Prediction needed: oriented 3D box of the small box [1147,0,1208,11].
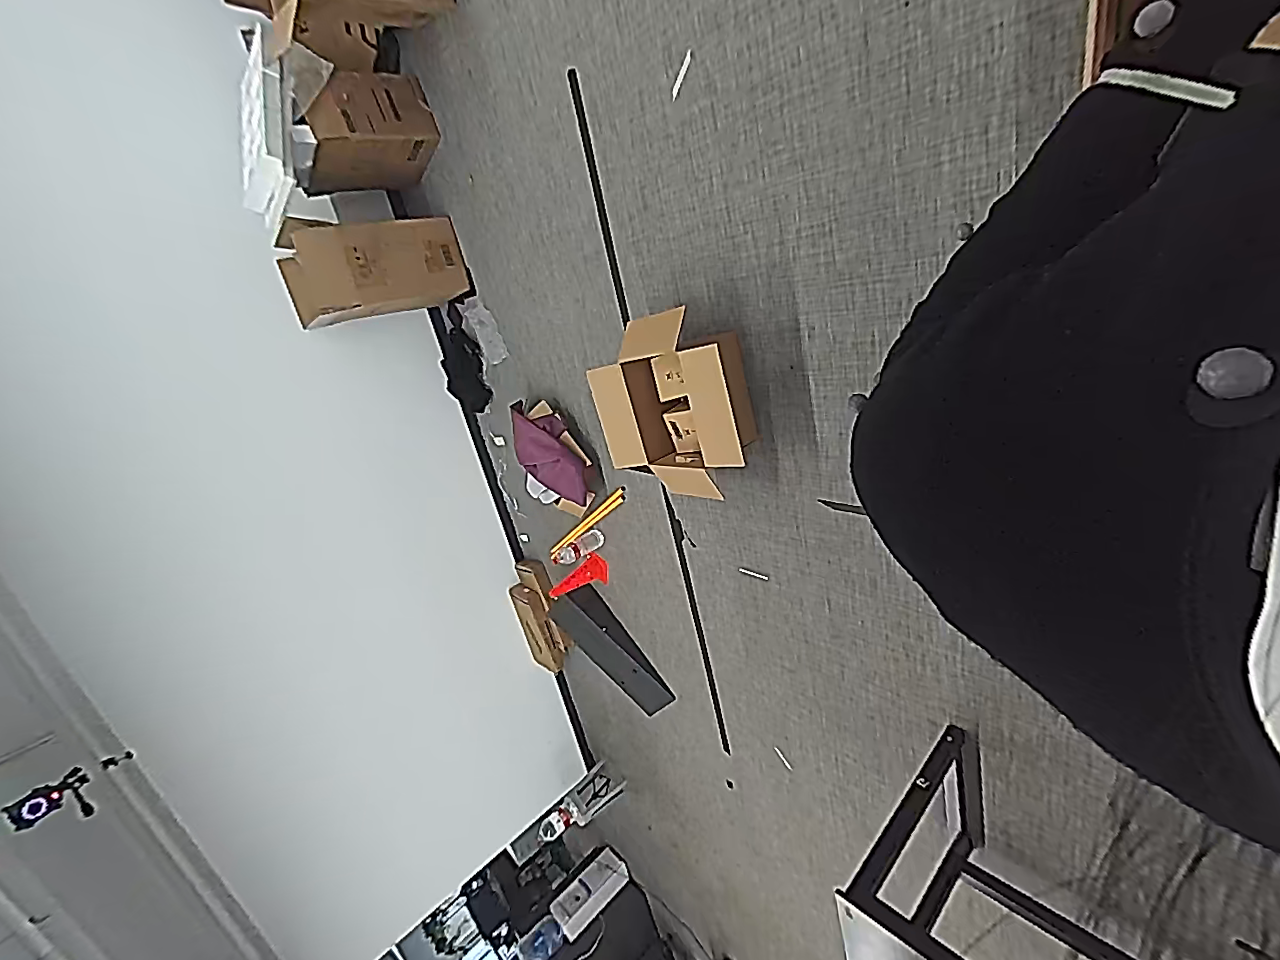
[{"bbox_3d":[0.866,-0.810,0.772,0.179,0.176,0.168,11,123,47],"label":"small box"}]
